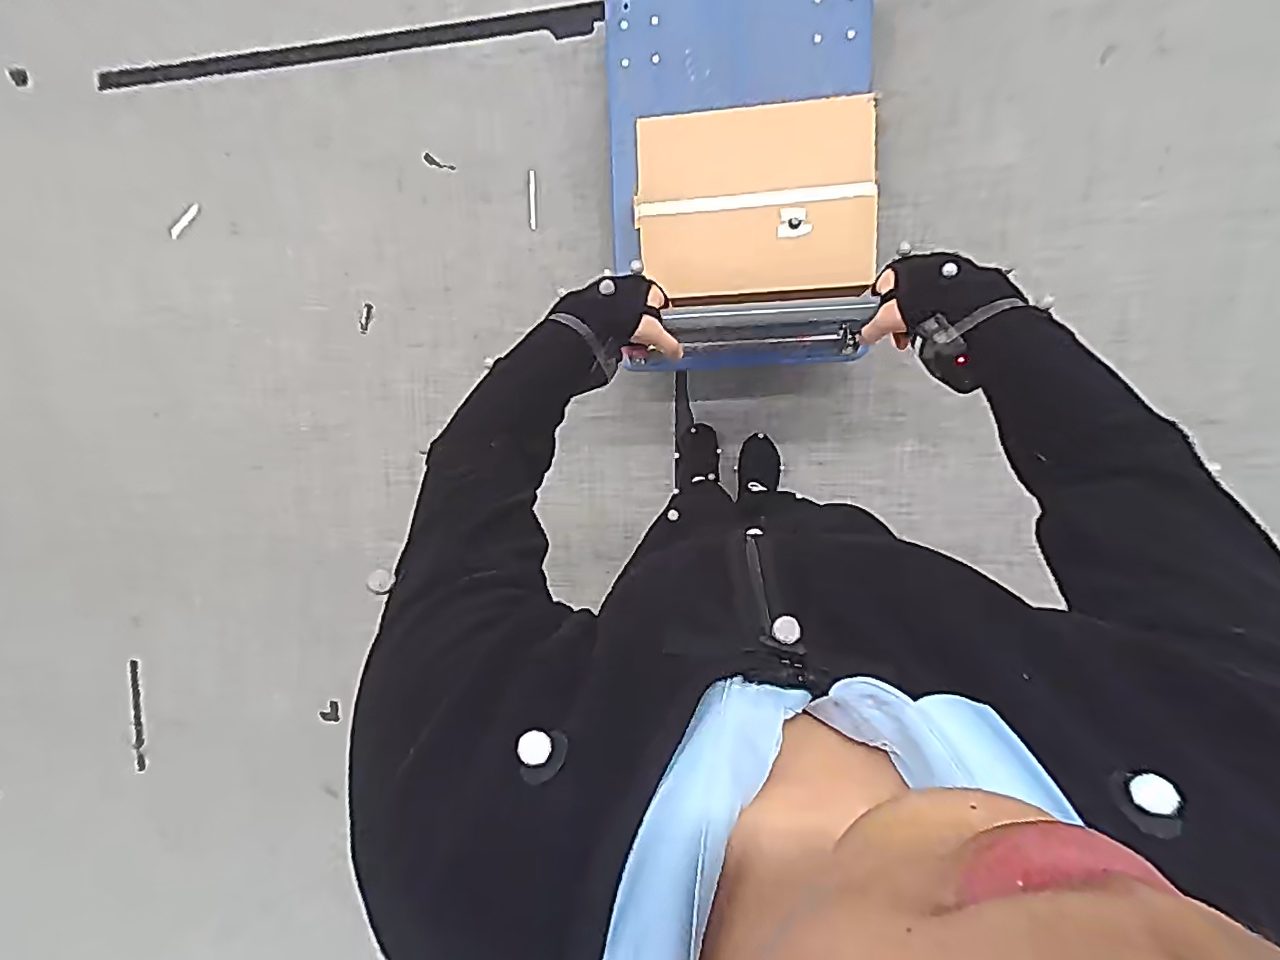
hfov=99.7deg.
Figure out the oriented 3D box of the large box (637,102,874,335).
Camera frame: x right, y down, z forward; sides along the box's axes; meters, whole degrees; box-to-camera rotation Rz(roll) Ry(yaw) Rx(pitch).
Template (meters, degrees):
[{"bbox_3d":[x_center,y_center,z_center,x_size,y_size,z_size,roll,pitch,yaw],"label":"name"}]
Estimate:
[{"bbox_3d":[0.214,-0.487,1.087,0.408,0.320,0.320,-2,96,7],"label":"large box"}]
